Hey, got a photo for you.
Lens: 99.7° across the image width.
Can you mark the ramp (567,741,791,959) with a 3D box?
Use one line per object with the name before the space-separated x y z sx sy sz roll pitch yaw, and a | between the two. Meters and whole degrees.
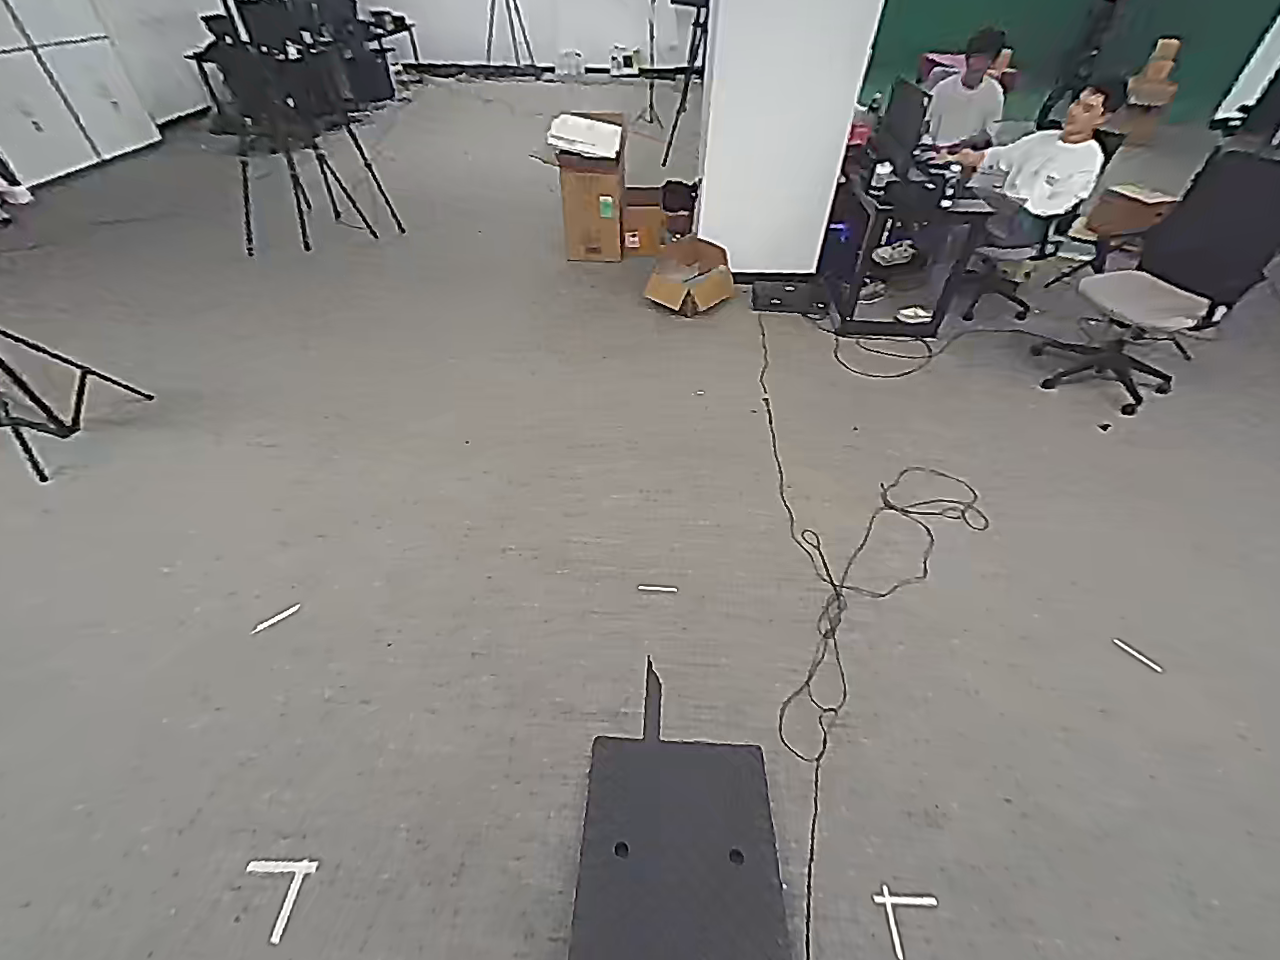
ramp | 0.082 1.055 1.168 0.509 0.206 0.991 0 44 1
